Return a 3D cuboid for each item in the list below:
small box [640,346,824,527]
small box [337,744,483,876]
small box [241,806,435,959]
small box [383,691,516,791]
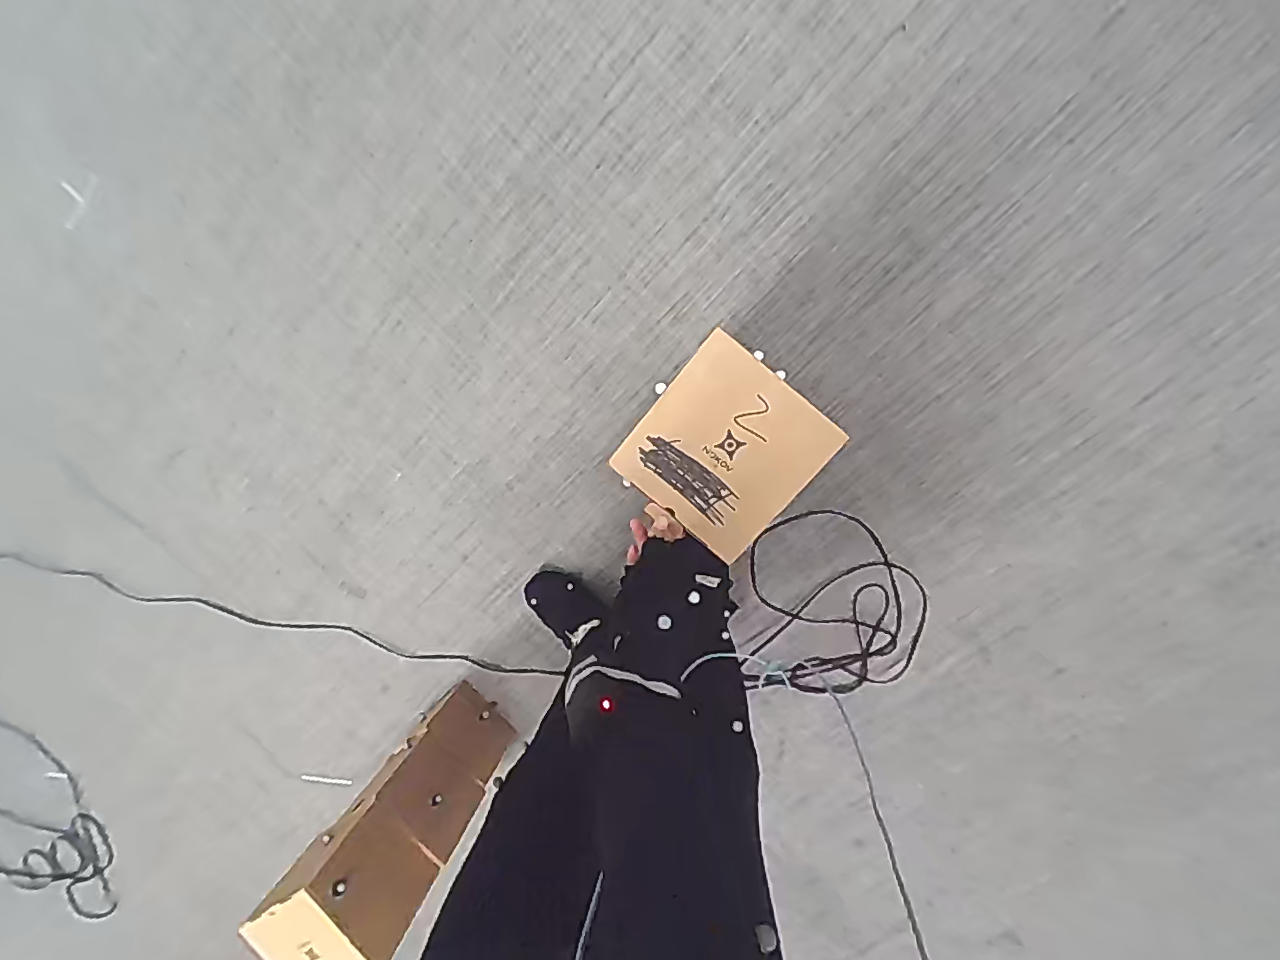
[{"bbox_3d":[0.125,-0.066,0.765,0.179,0.176,0.168,43,105,-2],"label":"small box"},{"bbox_3d":[-0.436,0.638,1.024,0.168,0.176,0.179,-41,94,16],"label":"small box"},{"bbox_3d":[-0.471,0.679,0.870,0.168,0.176,0.179,-36,94,16],"label":"small box"},{"bbox_3d":[-0.409,0.593,1.183,0.179,0.176,0.168,45,109,-1],"label":"small box"}]
